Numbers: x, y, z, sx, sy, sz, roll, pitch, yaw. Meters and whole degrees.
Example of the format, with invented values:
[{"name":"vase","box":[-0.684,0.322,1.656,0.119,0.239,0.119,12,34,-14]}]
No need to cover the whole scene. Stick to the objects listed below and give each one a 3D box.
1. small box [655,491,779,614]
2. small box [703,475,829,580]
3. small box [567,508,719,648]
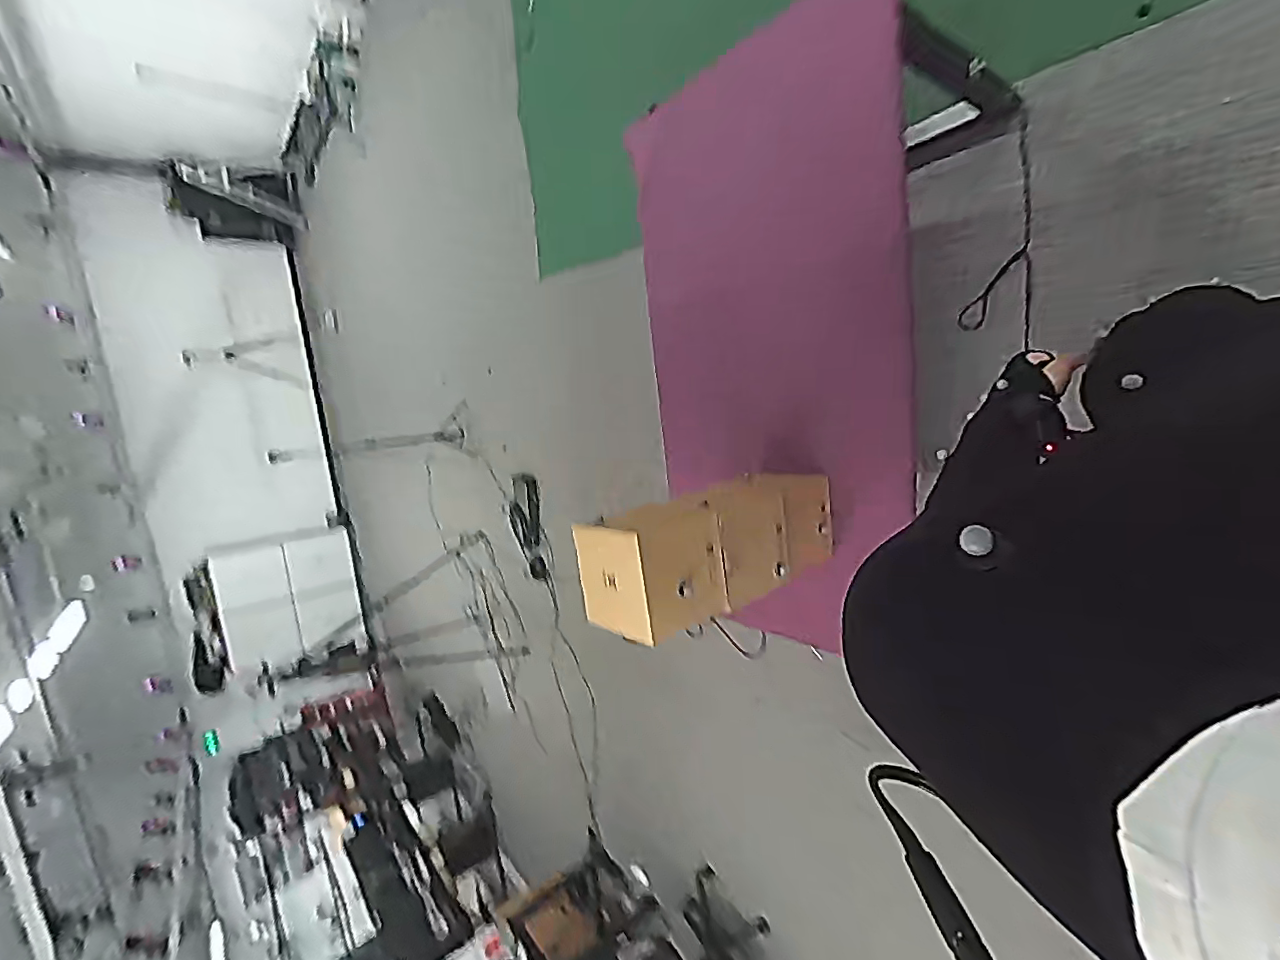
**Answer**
[{"name":"small box","box":[0.134,0.118,0.969,0.179,0.176,0.168,3,104,51]},{"name":"small box","box":[0.252,0.085,1.079,0.179,0.176,0.168,2,103,50]},{"name":"small box","box":[0.011,0.143,0.868,0.179,0.176,0.168,-1,101,52]}]
